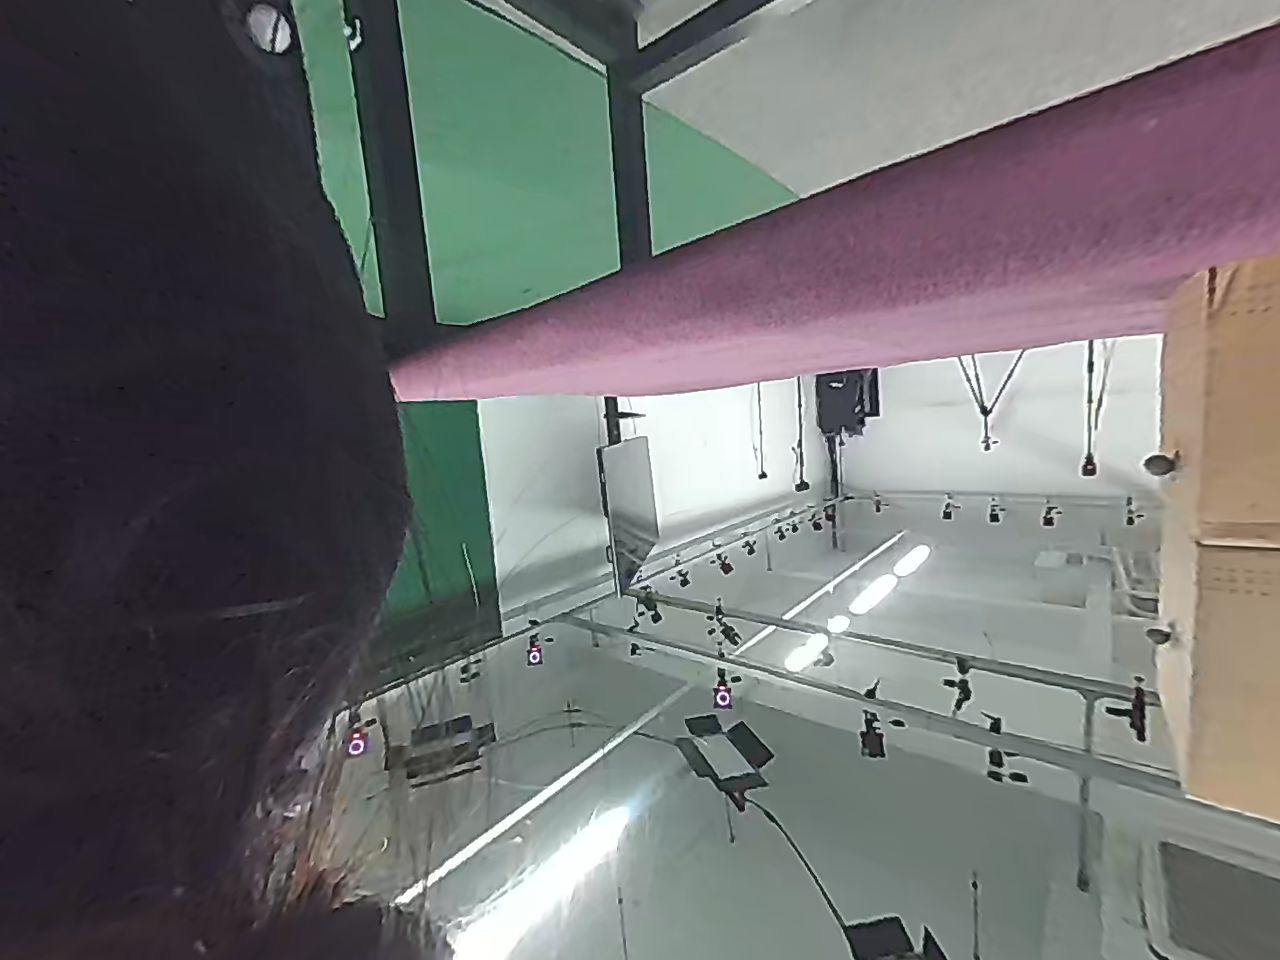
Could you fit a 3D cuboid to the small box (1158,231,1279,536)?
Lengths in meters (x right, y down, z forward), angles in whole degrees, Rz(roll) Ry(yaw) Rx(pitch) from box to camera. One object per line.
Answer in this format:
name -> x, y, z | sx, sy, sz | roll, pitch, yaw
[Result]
small box -> 0.445, -0.061, 0.331 | 0.168, 0.176, 0.179 | 0, -173, 38
